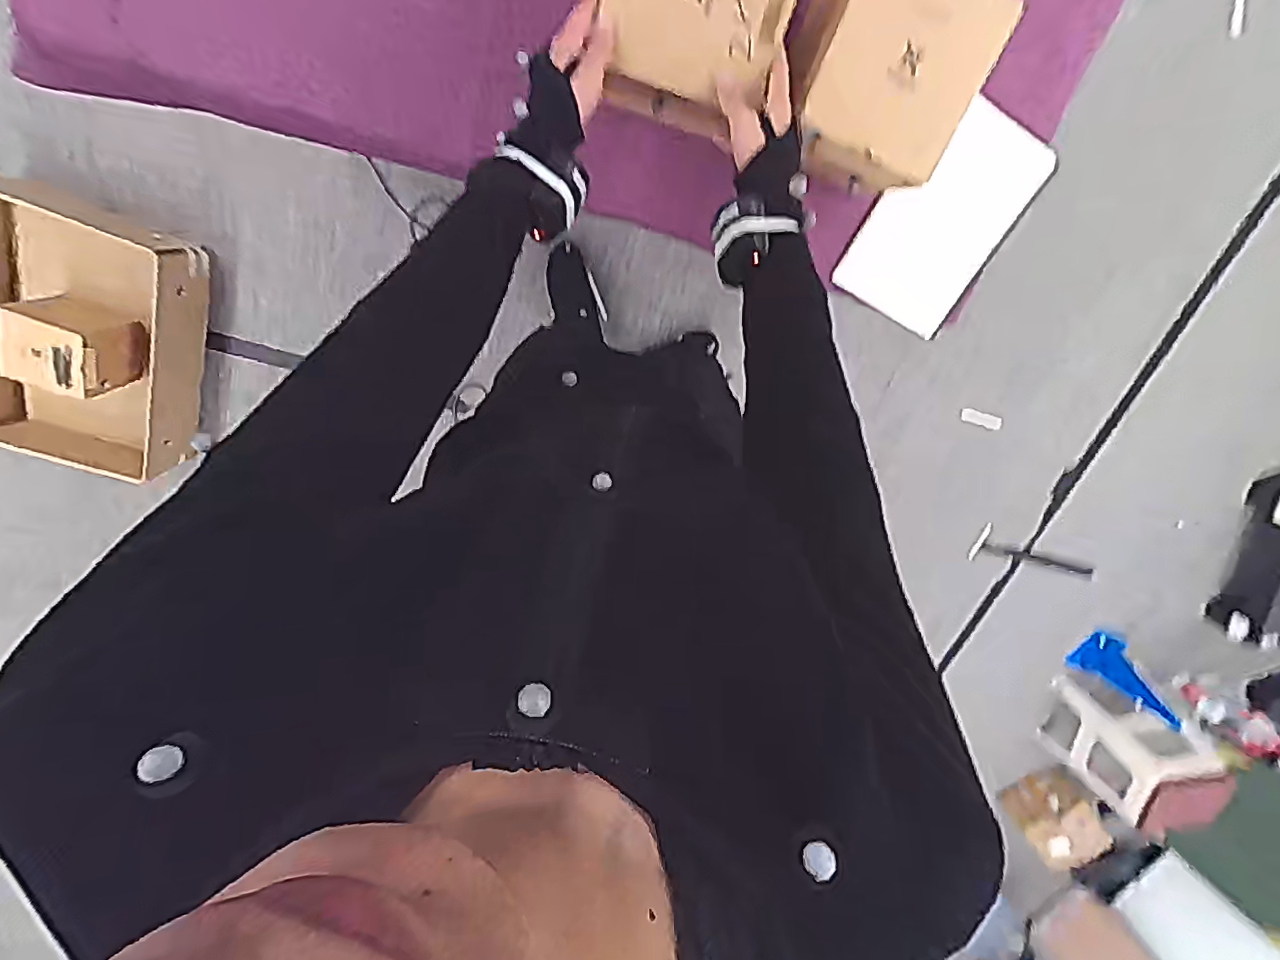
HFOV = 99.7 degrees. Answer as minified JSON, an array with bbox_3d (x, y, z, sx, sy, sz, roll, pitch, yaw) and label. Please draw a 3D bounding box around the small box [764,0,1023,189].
[{"bbox_3d":[0.258,-0.448,0.606,0.168,0.176,0.179,19,113,-14],"label":"small box"}]
